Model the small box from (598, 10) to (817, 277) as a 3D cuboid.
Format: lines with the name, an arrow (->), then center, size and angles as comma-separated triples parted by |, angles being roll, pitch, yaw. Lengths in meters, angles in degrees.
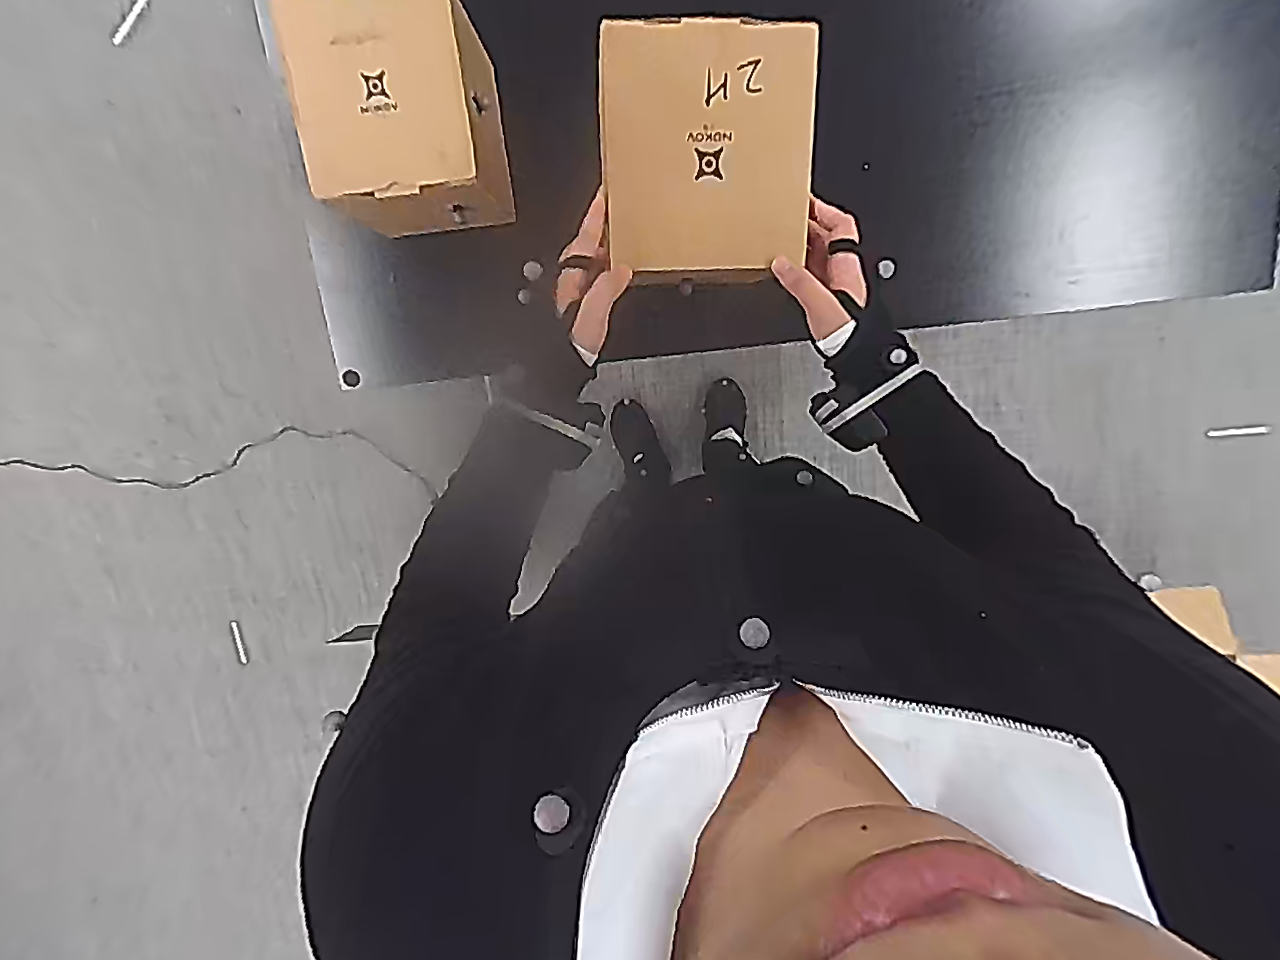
small box -> 0.047, -0.284, 0.499 | 0.168, 0.176, 0.179 | -2, 106, -4

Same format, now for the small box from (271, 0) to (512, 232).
small box -> -0.246, -0.381, 0.585 | 0.168, 0.176, 0.179 | -7, 102, 1
